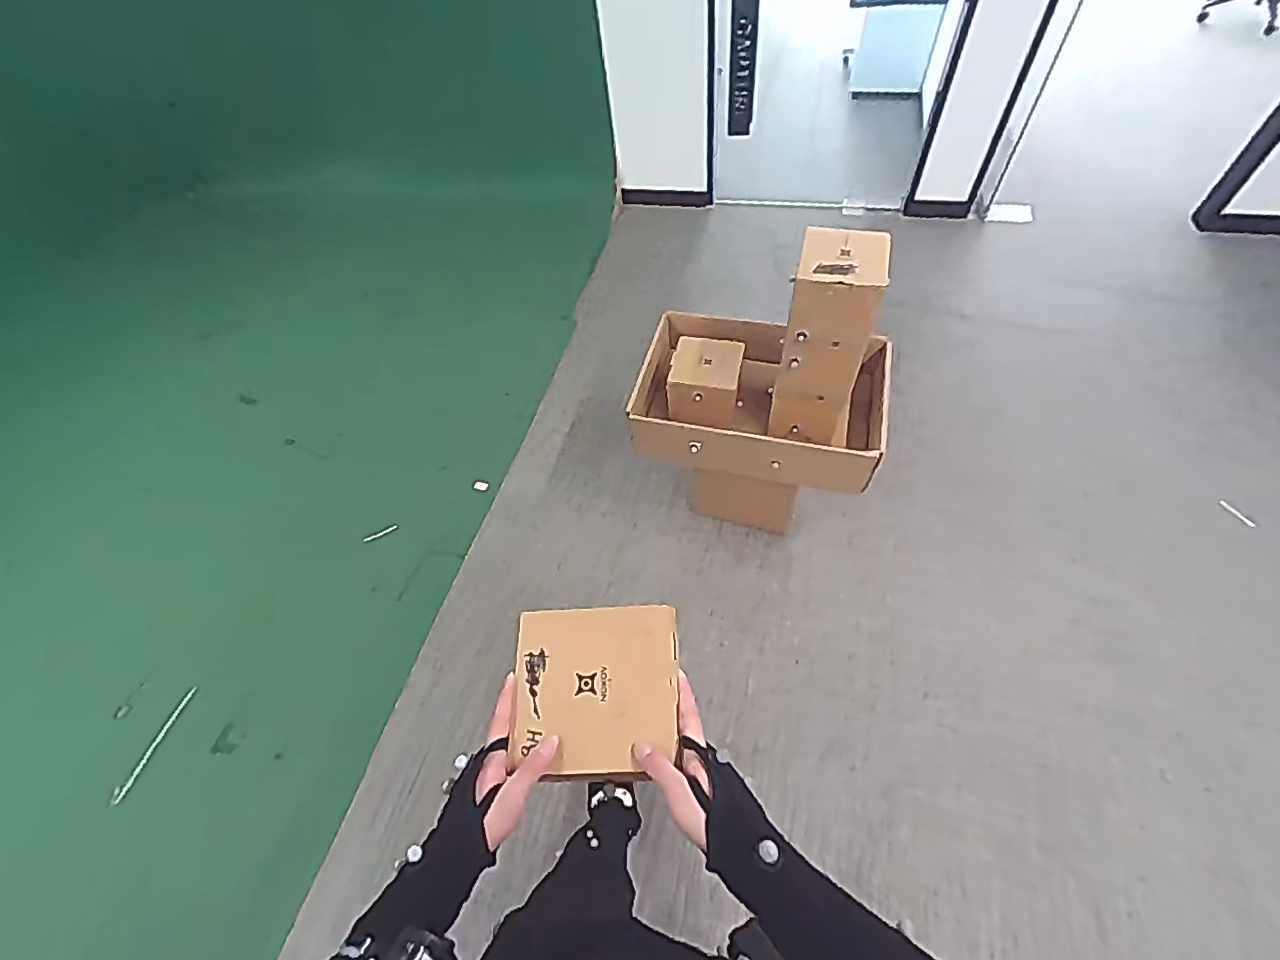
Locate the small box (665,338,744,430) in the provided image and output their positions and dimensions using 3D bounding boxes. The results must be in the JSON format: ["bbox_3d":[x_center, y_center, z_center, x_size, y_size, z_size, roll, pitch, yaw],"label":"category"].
[{"bbox_3d":[0.173,-0.253,1.448,0.179,0.176,0.168,11,59,11],"label":"small box"}]

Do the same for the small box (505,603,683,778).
[{"bbox_3d":[-0.041,0.250,0.635,0.179,0.176,0.168,-3,58,4],"label":"small box"}]

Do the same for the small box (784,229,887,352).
[{"bbox_3d":[0.399,-0.389,1.118,0.168,0.176,0.179,11,58,13],"label":"small box"}]
